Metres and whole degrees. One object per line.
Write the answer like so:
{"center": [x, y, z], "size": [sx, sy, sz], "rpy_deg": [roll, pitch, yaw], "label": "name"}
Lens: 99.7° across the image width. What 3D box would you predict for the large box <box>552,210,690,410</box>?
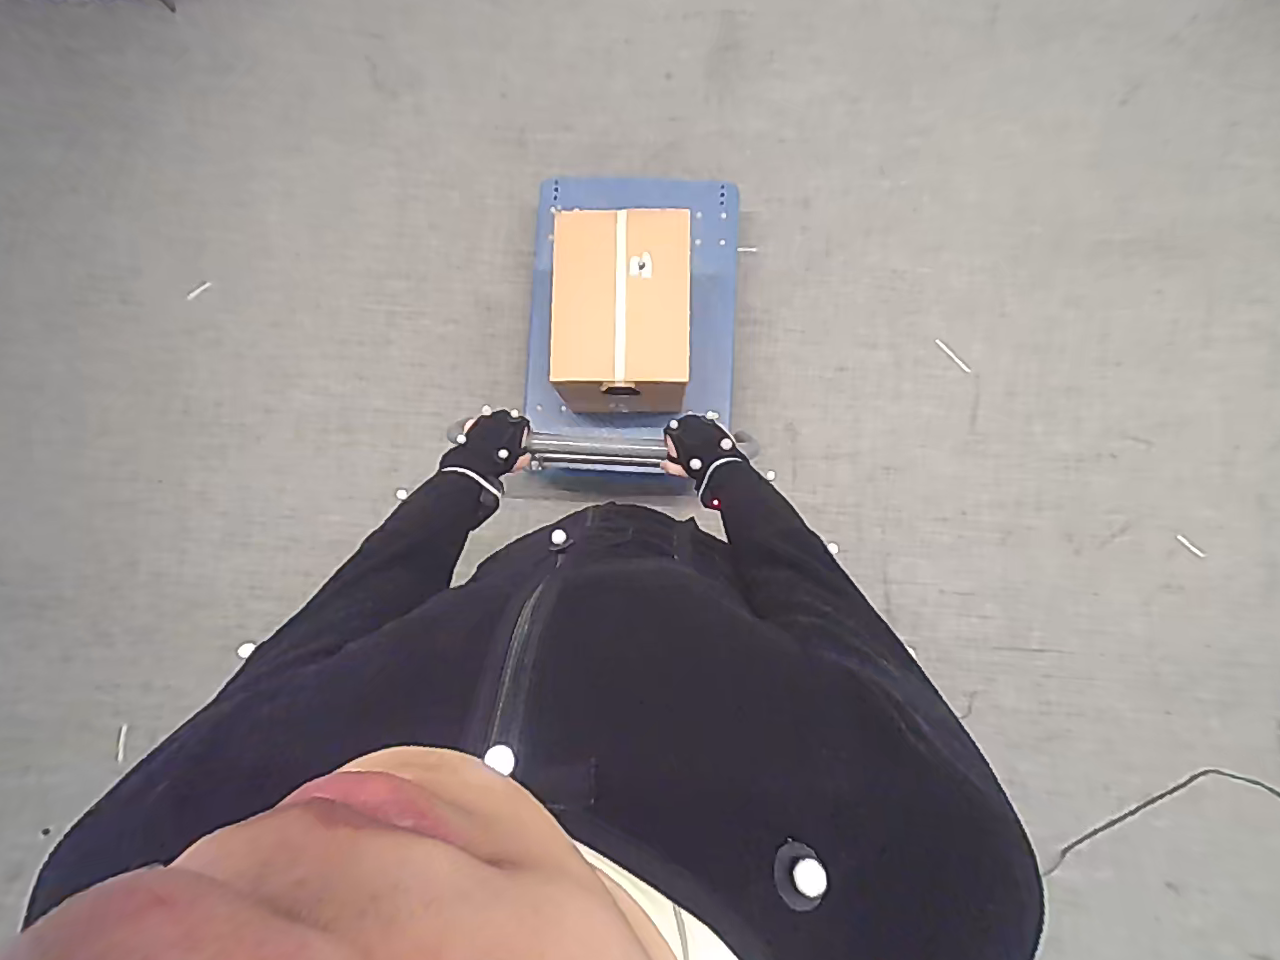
{"center": [-0.036, -0.408, 1.376], "size": [0.320, 0.320, 0.408], "rpy_deg": [1, 85, 2], "label": "large box"}
